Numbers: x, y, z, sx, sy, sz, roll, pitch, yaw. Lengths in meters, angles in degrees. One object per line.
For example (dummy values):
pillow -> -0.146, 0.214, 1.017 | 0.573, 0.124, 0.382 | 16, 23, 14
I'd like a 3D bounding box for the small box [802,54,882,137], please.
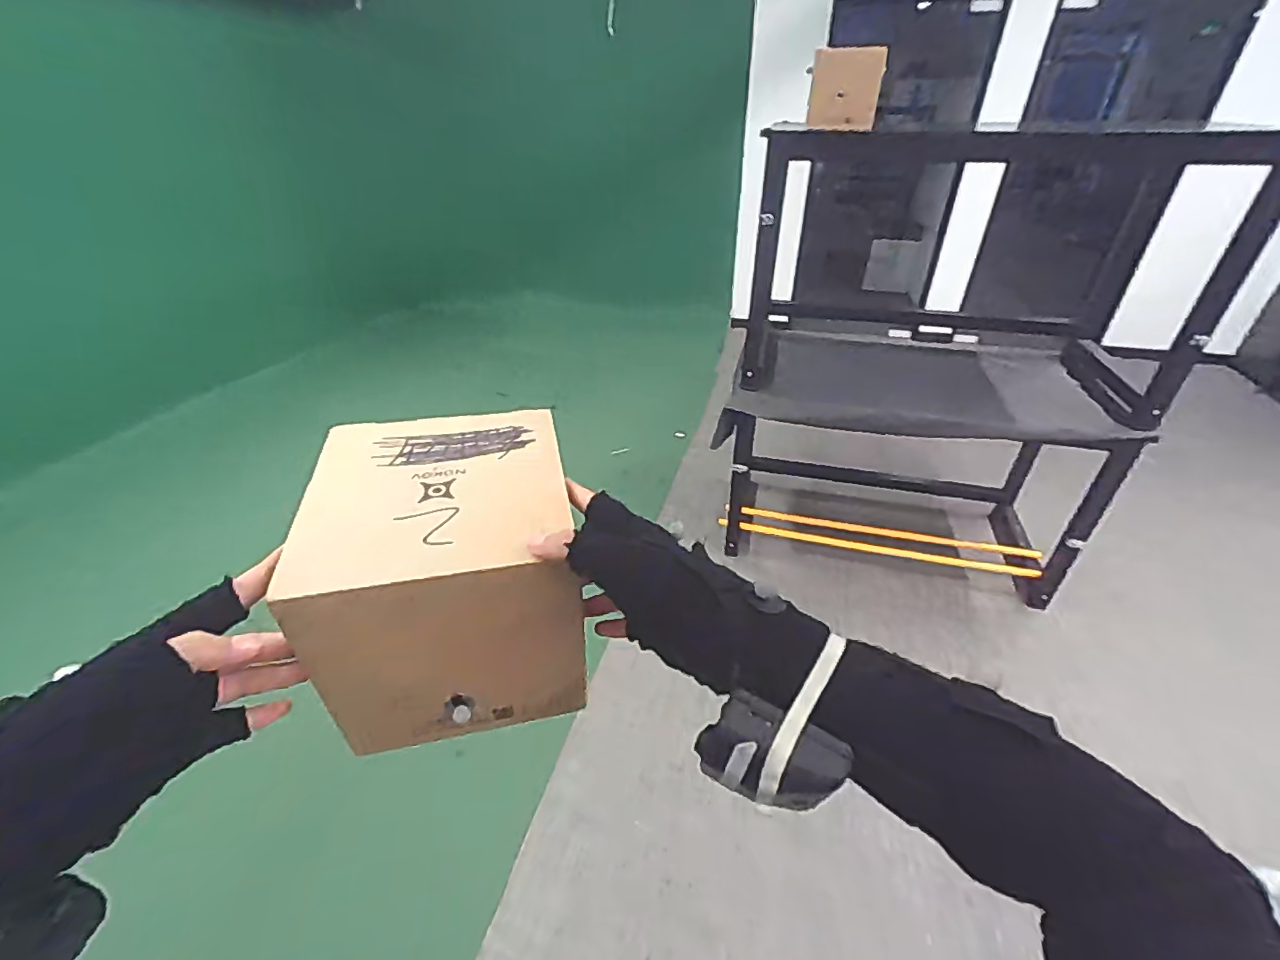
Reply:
small box -> 0.525, -1.002, 1.417 | 0.168, 0.176, 0.179 | 9, 35, 12
